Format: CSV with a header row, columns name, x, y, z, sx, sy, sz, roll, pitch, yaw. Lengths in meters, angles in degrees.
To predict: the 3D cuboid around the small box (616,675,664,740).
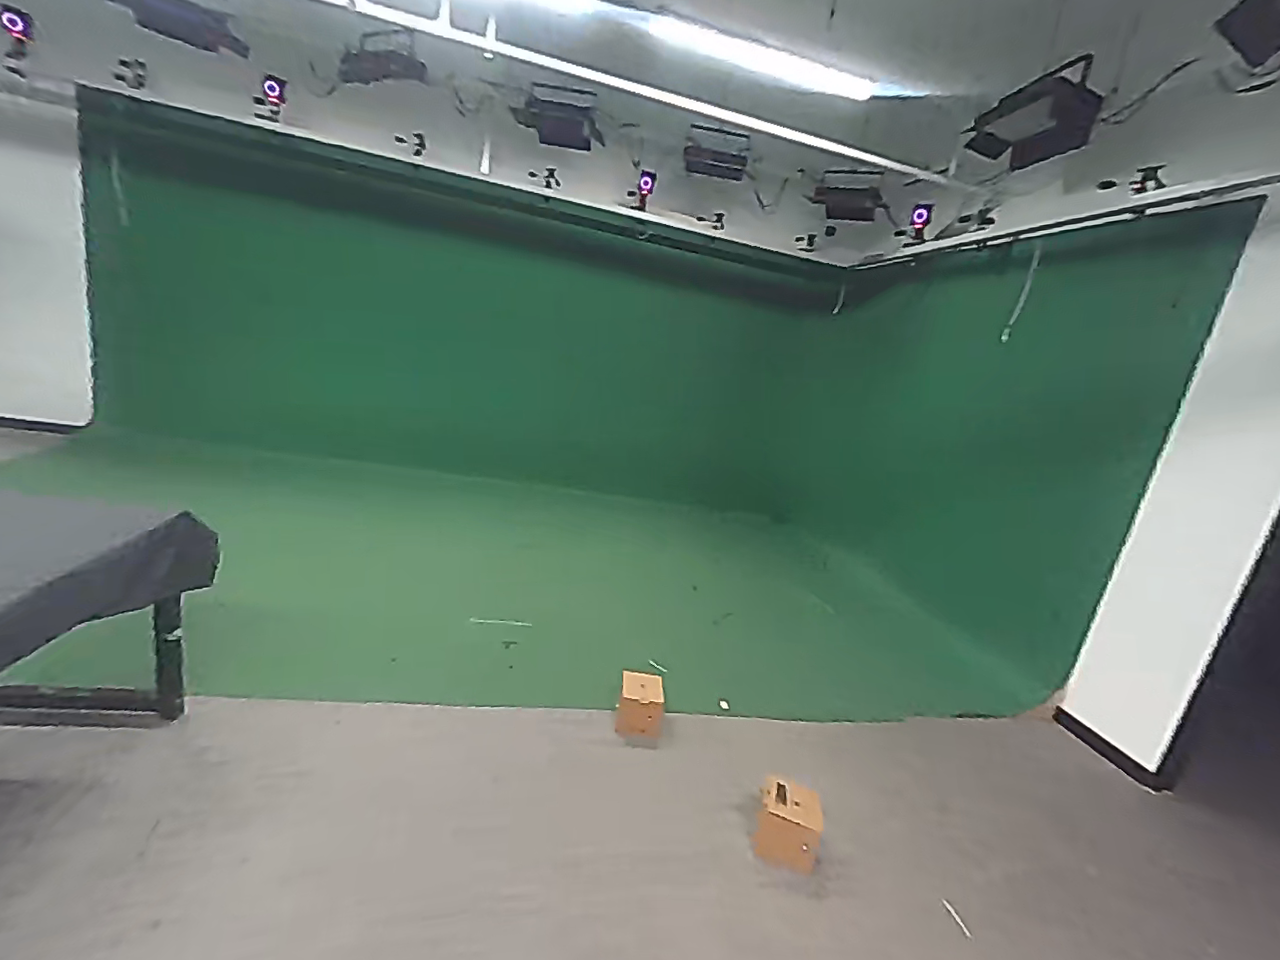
name,x,y,z,sx,sy,sz,roll,pitch,yaw
small box,-0.001,0.924,2.191,0.168,0.176,0.179,11,12,-5
